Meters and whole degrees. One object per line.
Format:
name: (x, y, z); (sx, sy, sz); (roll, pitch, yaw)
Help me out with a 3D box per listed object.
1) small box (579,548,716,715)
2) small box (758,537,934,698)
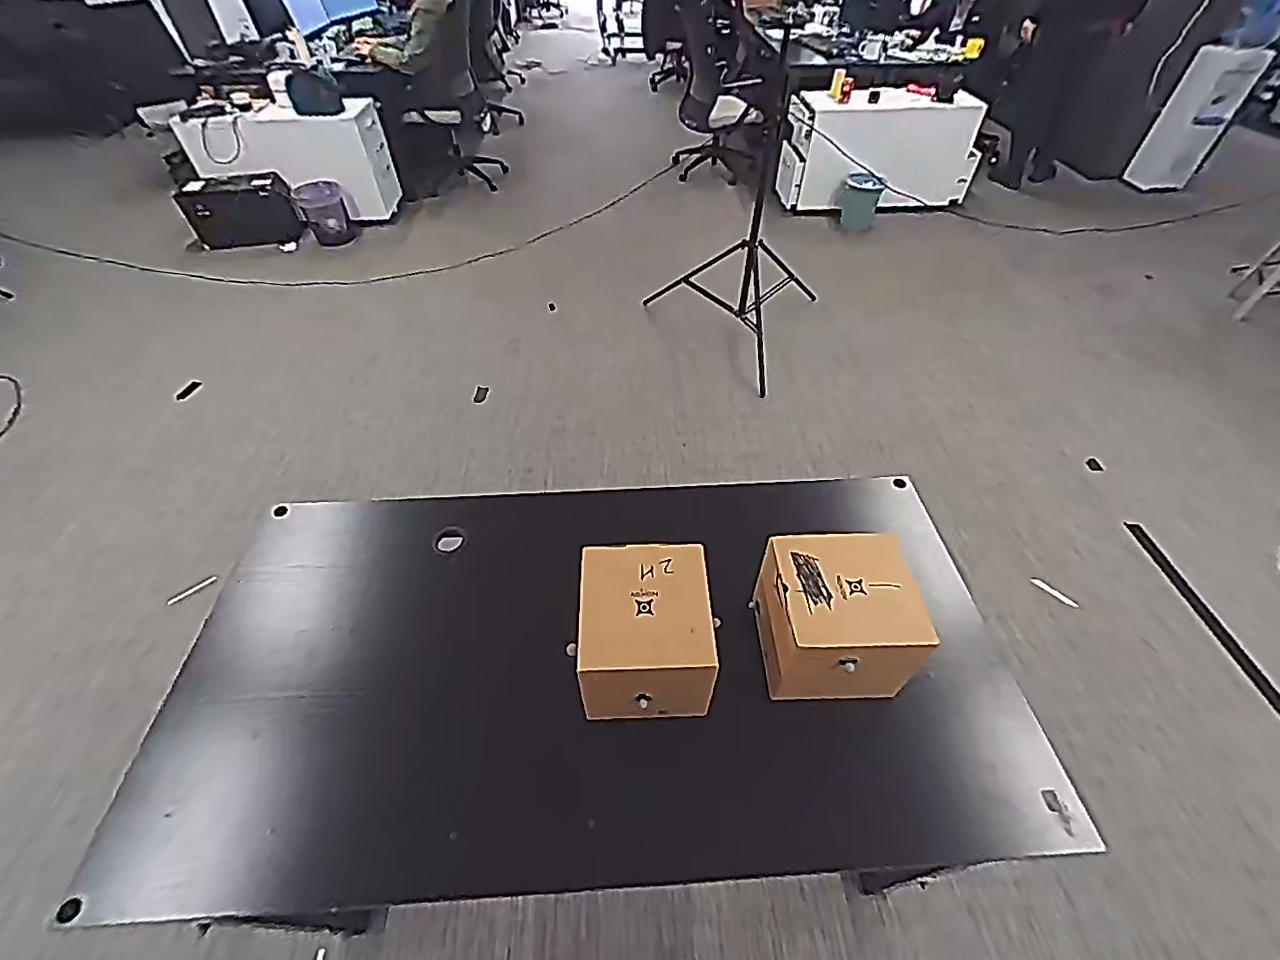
small box: (0.010, 0.214, 0.749); (0.168, 0.176, 0.179); (-1, 48, -1)
small box: (0.270, 0.196, 0.763); (0.179, 0.176, 0.168); (-1, 48, -1)
